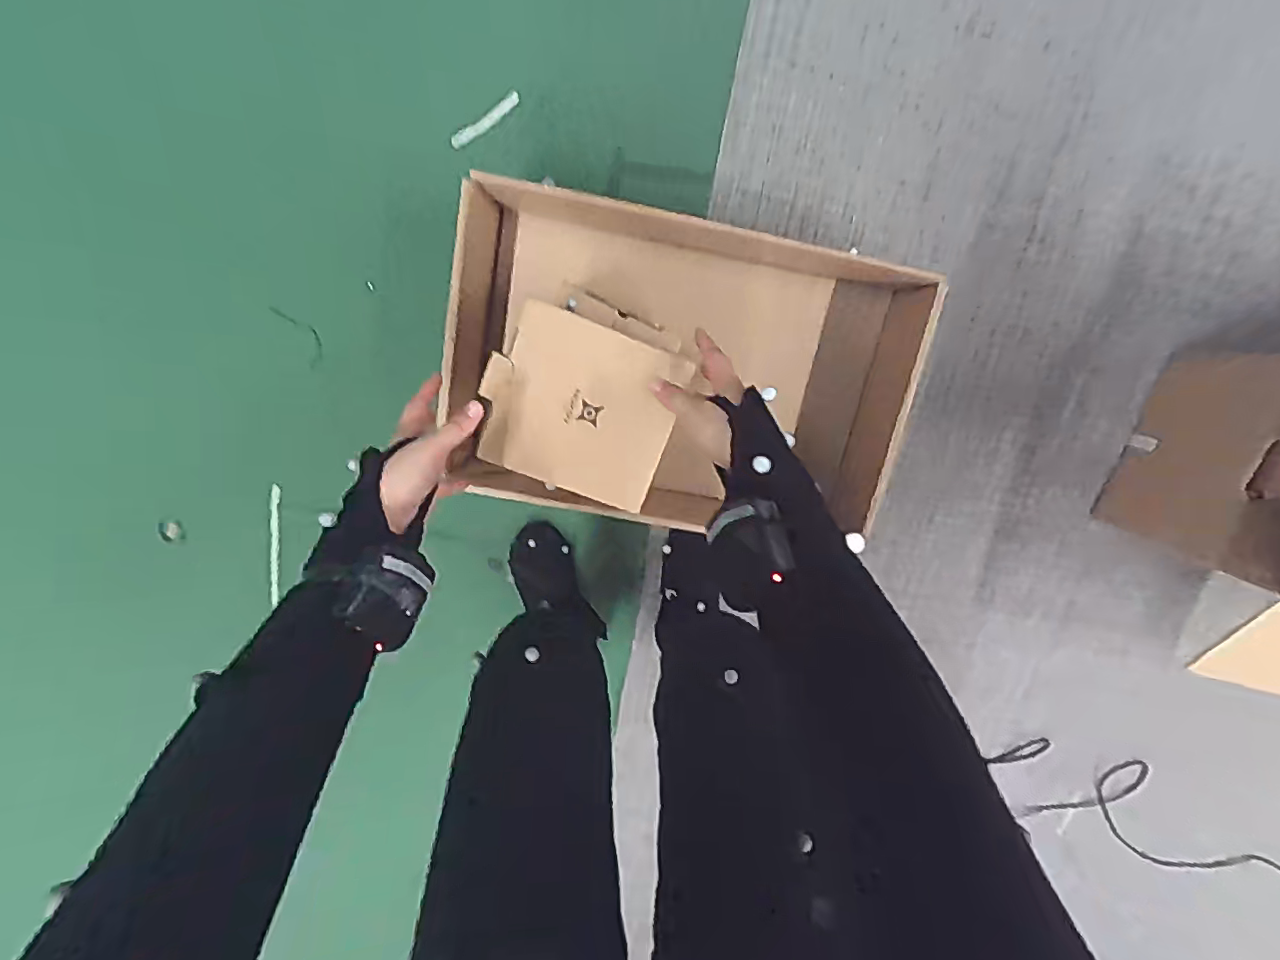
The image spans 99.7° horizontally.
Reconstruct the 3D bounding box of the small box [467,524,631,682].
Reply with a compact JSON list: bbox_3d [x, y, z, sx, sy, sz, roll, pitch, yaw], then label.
[{"bbox_3d":[-0.141,0.196,0.878,0.176,0.168,0.179,39,72,-34],"label":"small box"}]

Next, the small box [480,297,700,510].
[{"bbox_3d":[-0.053,-0.091,0.606,0.179,0.176,0.168,20,102,-7],"label":"small box"}]

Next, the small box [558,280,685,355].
[{"bbox_3d":[-0.058,-0.155,0.758,0.168,0.176,0.179,25,103,-9],"label":"small box"}]
